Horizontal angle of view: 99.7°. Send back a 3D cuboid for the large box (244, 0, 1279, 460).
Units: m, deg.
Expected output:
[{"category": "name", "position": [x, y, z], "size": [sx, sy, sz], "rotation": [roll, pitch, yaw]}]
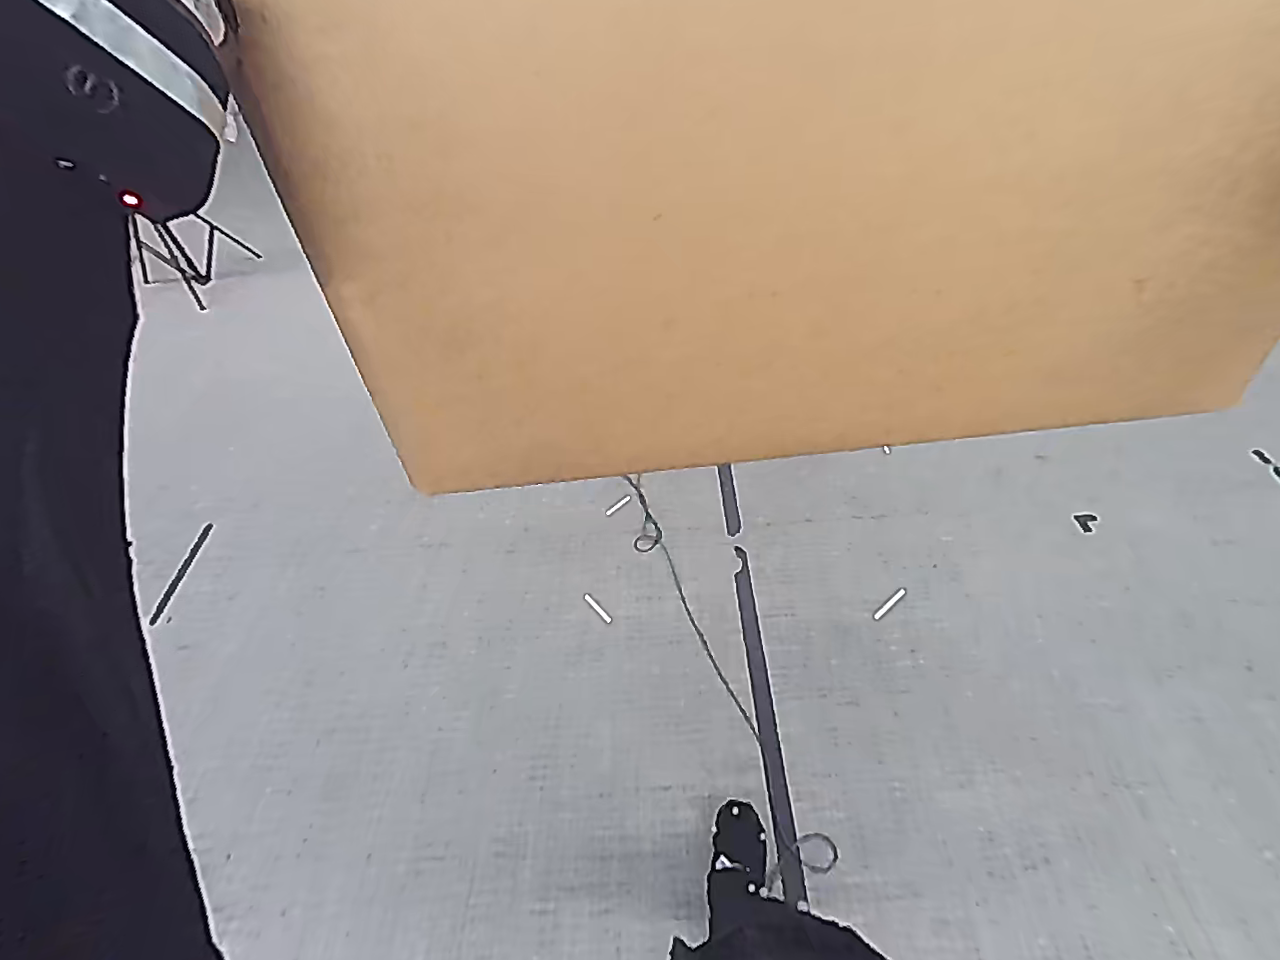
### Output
[{"category": "large box", "position": [0.064, -0.236, 0.296], "size": [0.408, 0.320, 0.320], "rotation": [-6, 39, -1]}]
